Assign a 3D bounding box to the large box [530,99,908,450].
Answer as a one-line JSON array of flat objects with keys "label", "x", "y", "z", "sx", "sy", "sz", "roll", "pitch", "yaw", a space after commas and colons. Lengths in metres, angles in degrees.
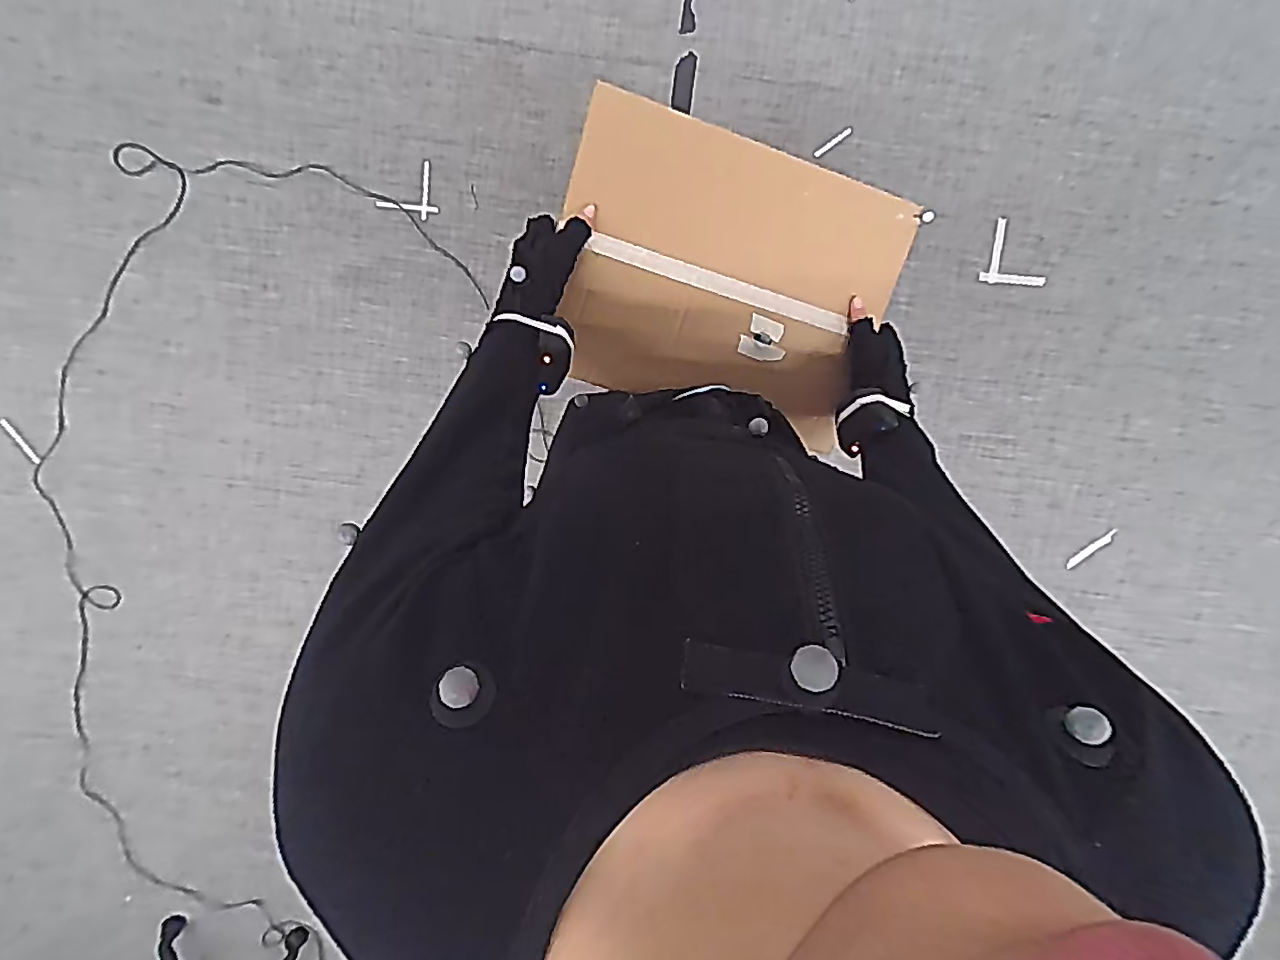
[{"label": "large box", "x": 0.081, "y": -0.266, "z": 0.799, "sx": 0.408, "sy": 0.320, "sz": 0.320, "roll": 16, "pitch": 103, "yaw": -9}]
